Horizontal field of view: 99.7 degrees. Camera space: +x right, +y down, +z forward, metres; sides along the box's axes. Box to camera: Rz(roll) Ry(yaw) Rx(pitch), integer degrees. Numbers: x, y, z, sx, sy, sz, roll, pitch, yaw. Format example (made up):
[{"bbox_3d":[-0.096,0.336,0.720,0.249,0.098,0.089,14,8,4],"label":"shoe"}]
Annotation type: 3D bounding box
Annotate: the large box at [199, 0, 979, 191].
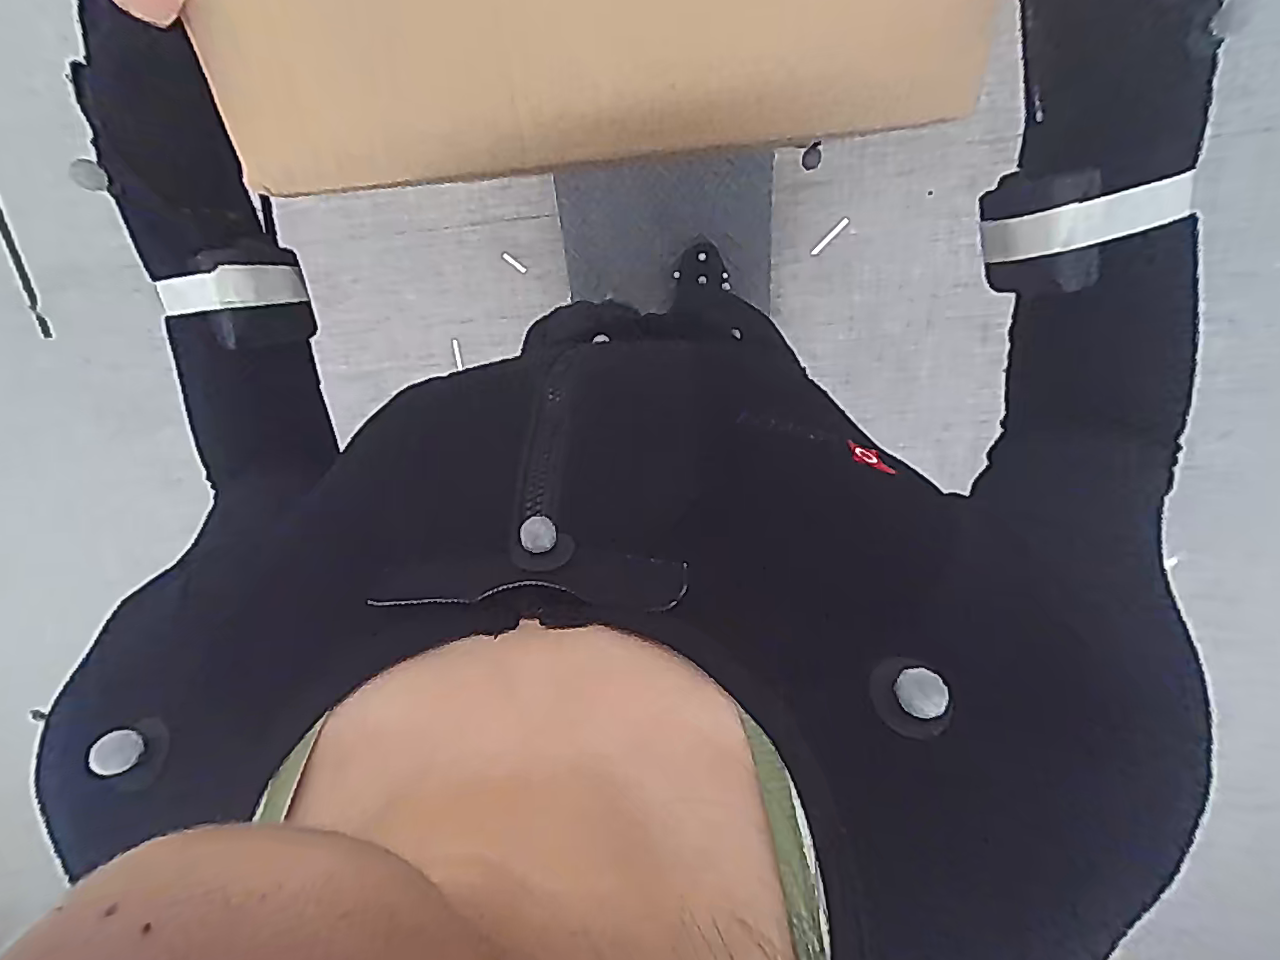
[{"bbox_3d":[-0.031,-0.396,0.358,0.408,0.320,0.320,-3,120,5],"label":"large box"}]
